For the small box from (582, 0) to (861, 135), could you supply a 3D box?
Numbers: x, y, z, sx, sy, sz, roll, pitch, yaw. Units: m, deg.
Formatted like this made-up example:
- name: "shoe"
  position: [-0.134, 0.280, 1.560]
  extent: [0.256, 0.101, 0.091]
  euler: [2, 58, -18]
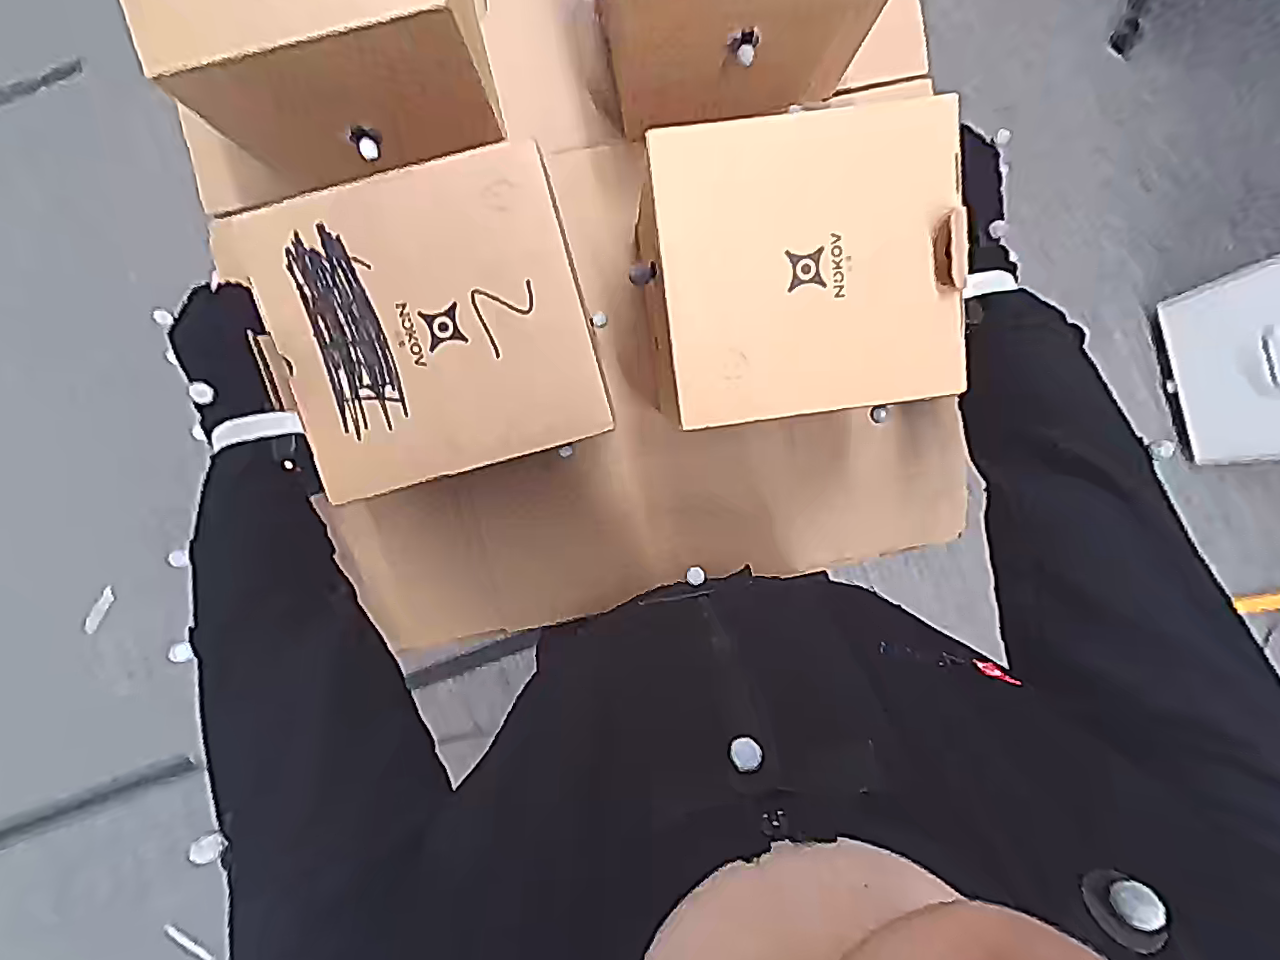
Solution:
- name: "small box"
  position: [0.045, -0.369, 0.359]
  extent: [0.179, 0.176, 0.168]
  euler: [-12, 95, 1]

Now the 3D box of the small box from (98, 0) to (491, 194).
- name: "small box"
  position: [-0.212, -0.316, 0.357]
  extent: [0.168, 0.176, 0.179]
  euler: [-14, 95, -1]
